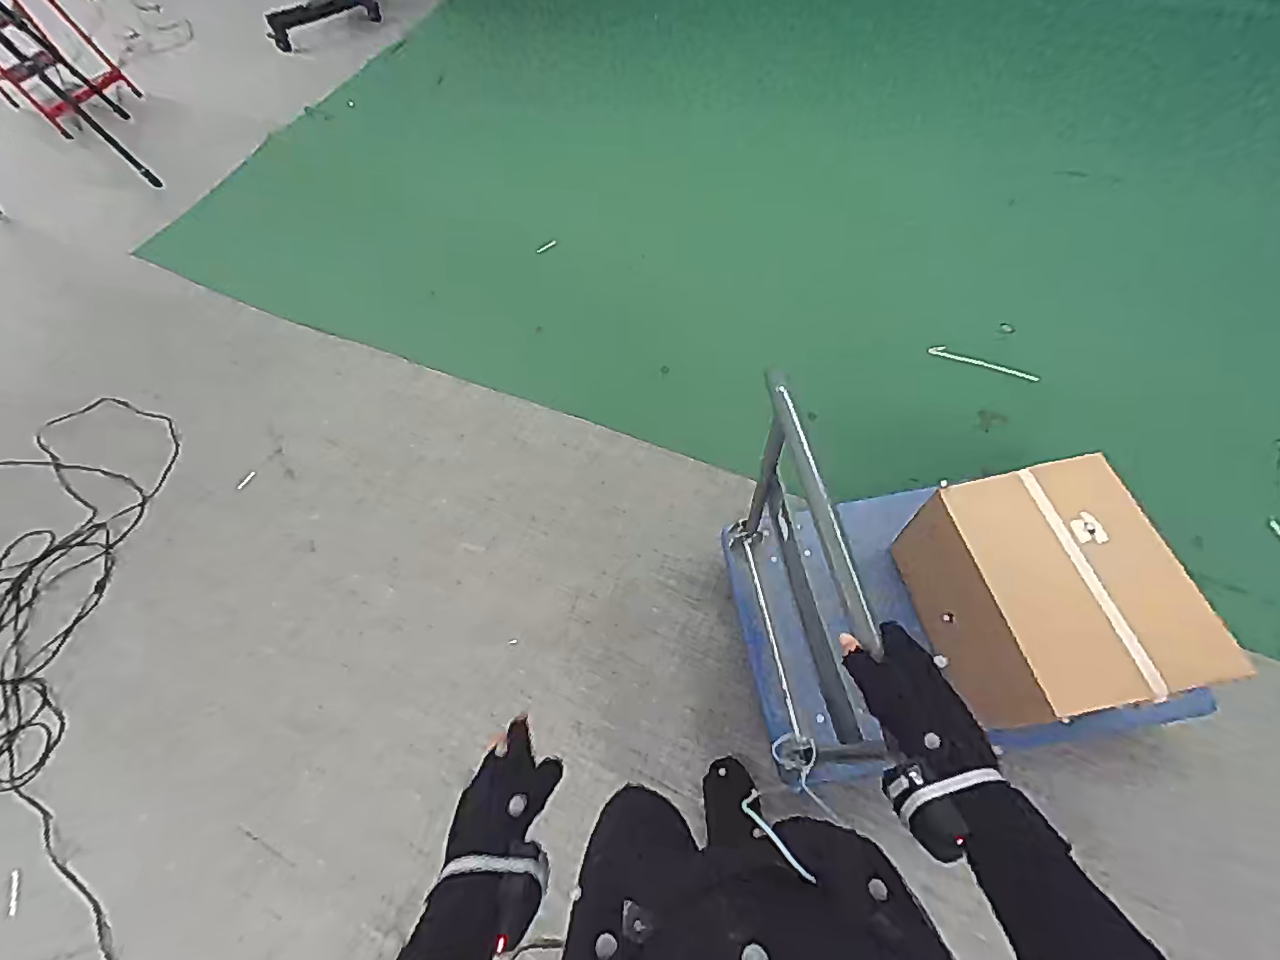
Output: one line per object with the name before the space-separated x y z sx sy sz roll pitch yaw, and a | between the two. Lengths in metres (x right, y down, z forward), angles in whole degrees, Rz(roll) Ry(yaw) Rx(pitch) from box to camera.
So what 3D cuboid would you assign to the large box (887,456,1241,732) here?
large box | 0.739 0.227 1.038 0.320 0.320 0.408 -12 60 0
